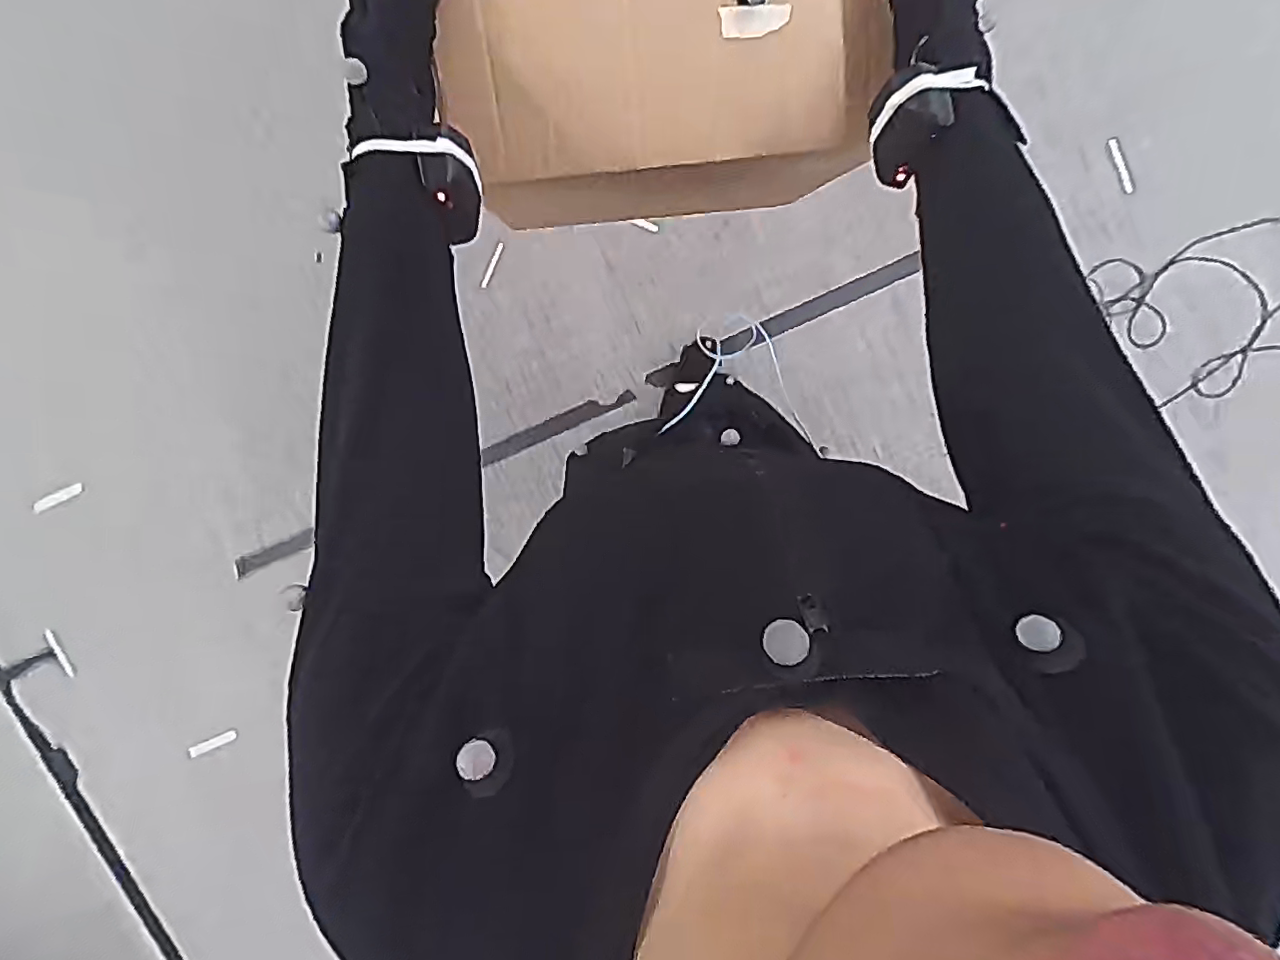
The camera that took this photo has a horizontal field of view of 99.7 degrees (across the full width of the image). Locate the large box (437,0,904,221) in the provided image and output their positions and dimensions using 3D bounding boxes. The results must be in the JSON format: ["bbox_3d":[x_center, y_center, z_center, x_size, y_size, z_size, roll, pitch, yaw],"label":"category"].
[{"bbox_3d":[0.014,-0.487,0.582,0.408,0.320,0.320,-6,109,-2],"label":"large box"}]
